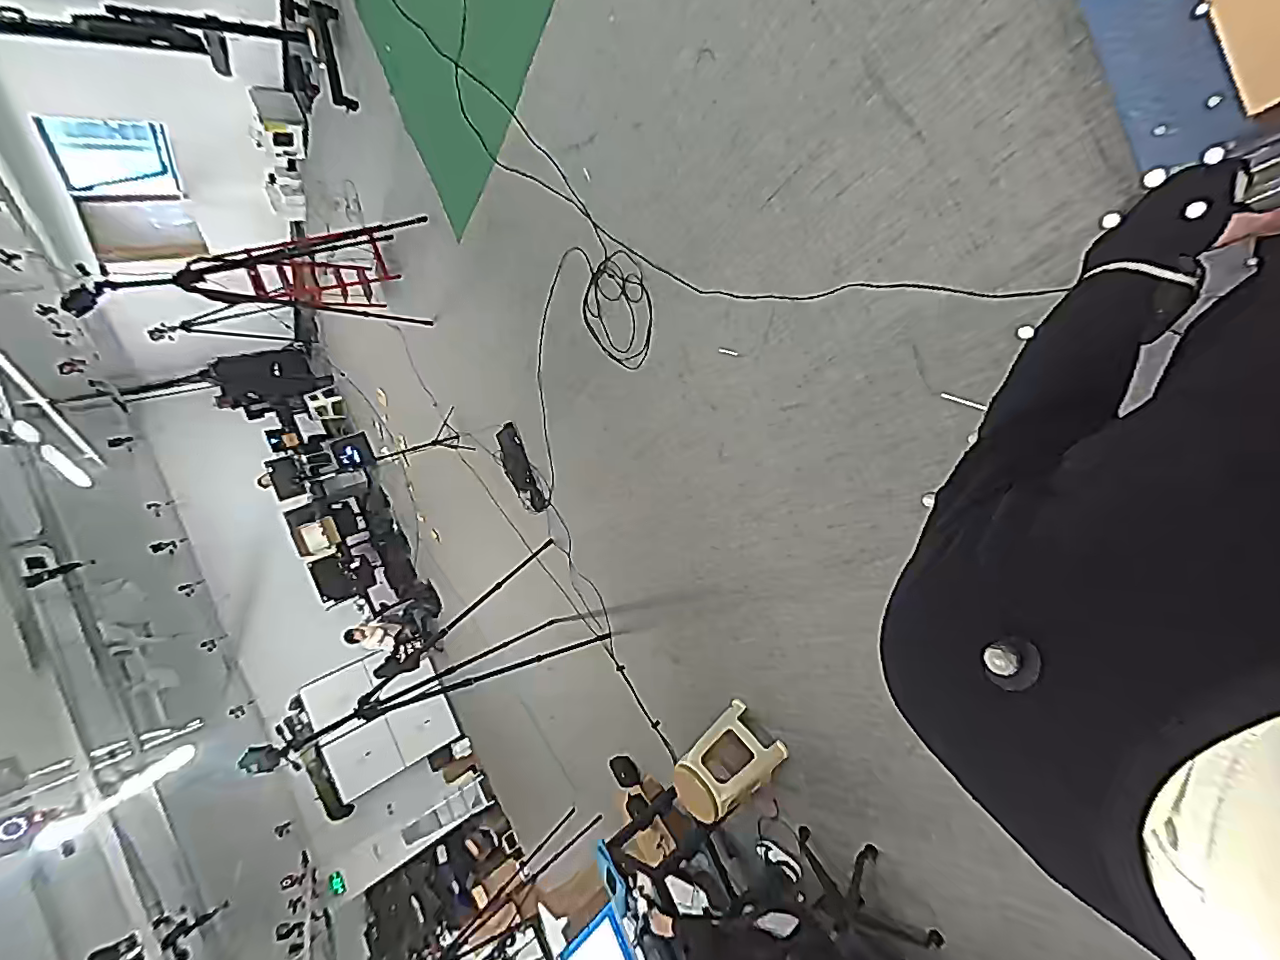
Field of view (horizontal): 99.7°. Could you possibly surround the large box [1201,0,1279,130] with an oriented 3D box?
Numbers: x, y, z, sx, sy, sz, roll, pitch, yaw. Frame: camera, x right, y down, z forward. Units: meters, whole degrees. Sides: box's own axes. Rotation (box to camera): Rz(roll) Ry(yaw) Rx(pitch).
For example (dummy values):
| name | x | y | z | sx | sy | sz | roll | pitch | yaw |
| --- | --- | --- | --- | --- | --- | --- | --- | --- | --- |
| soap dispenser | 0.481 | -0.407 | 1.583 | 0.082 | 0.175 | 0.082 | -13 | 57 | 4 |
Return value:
| name | x | y | z | sx | sy | sz | roll | pitch | yaw |
| --- | --- | --- | --- | --- | --- | --- | --- | --- | --- |
| large box | 0.943 | -0.745 | 0.687 | 0.320 | 0.320 | 0.408 | -20 | 91 | 54 |
